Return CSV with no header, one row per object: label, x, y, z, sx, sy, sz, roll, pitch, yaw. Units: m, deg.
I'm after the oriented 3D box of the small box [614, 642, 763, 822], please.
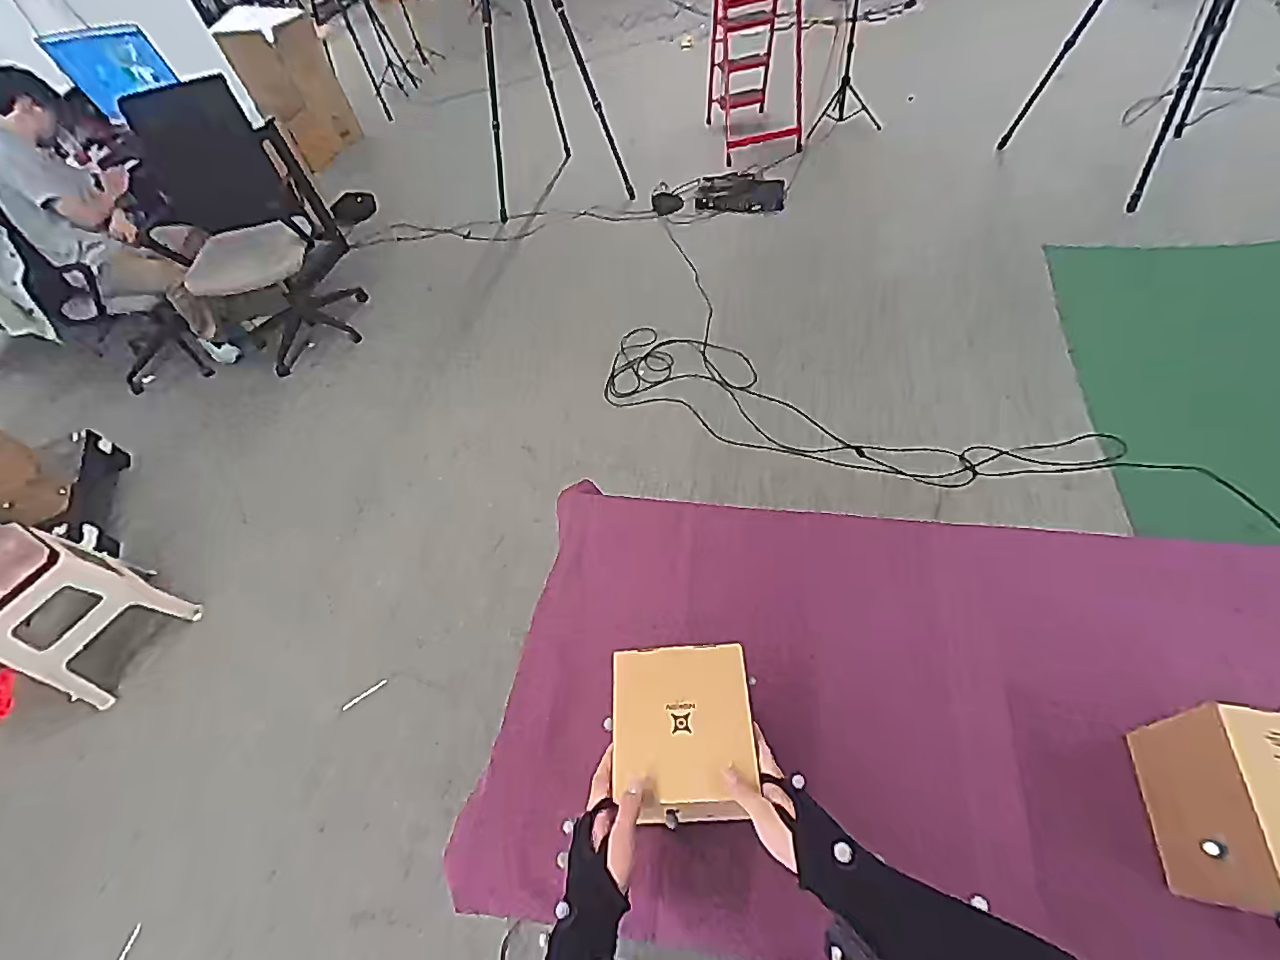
small box,0.061,0.329,0.694,0.168,0.176,0.179,-6,50,4
